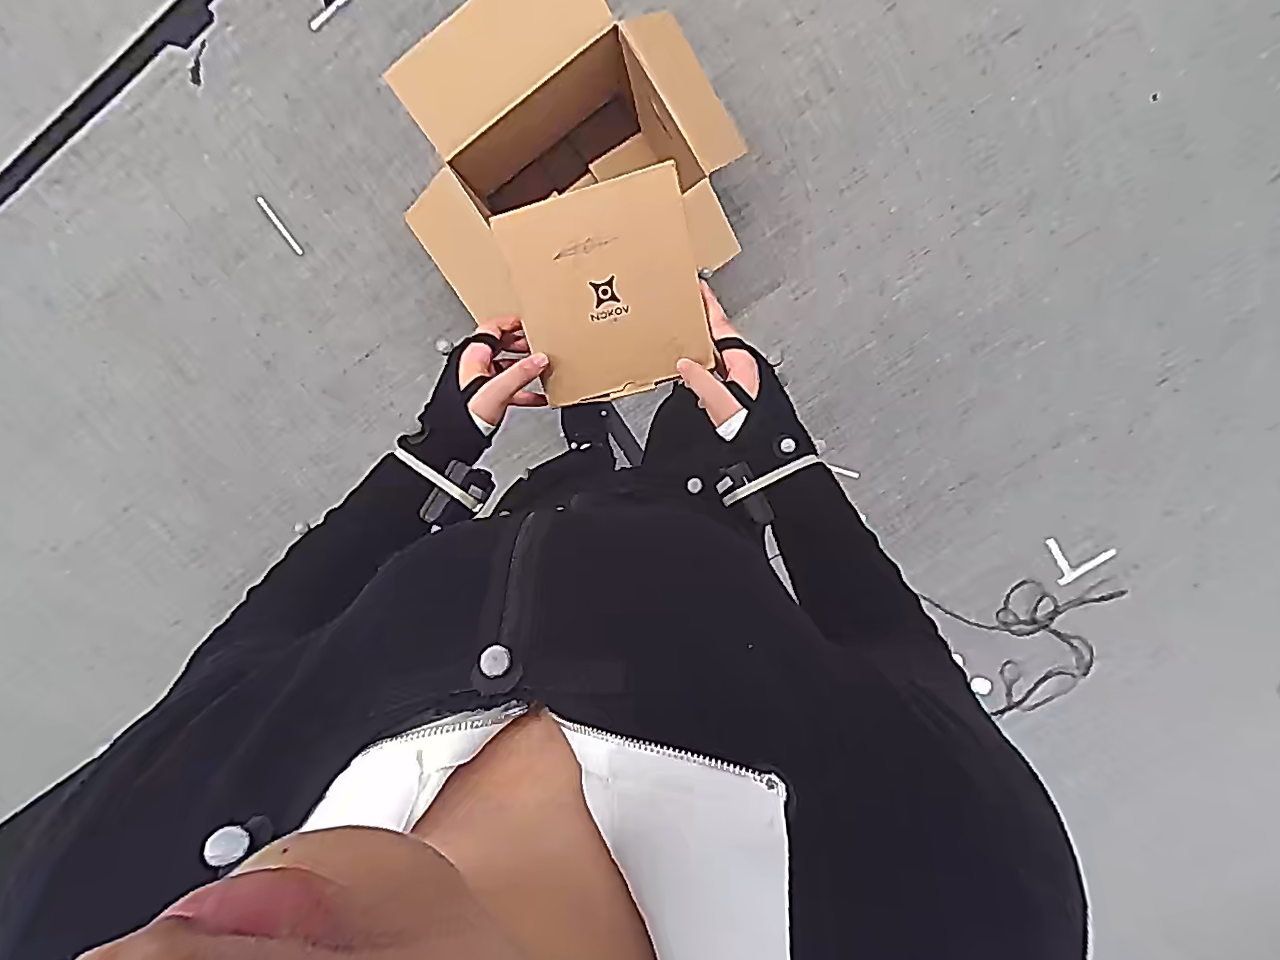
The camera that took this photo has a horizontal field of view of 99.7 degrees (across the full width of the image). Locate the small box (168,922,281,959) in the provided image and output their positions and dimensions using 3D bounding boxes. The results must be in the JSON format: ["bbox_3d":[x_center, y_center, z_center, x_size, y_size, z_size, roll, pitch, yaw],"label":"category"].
[{"bbox_3d":[-0.725,0.896,0.897,0.168,0.176,0.179,-32,103,8],"label":"small box"}]

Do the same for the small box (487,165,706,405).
[{"bbox_3d":[-0.028,-0.197,0.560,0.168,0.176,0.179,-13,109,10],"label":"small box"}]
